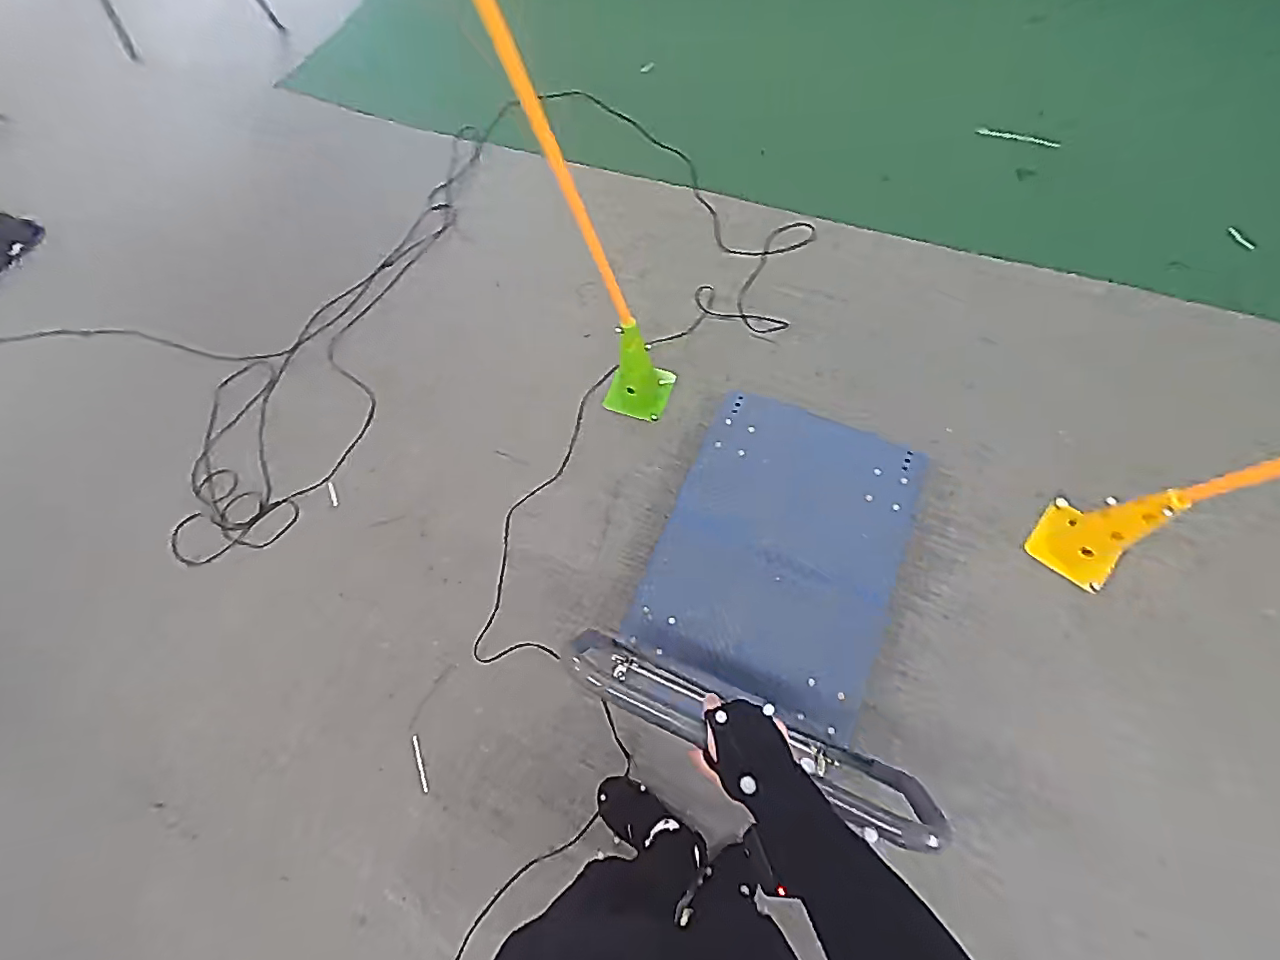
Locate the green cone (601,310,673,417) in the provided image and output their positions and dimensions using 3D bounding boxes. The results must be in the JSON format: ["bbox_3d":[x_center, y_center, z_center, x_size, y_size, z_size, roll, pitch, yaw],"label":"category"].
[{"bbox_3d":[-0.028,-0.379,1.637,0.202,0.368,0.200,16,69,14],"label":"green cone"}]
